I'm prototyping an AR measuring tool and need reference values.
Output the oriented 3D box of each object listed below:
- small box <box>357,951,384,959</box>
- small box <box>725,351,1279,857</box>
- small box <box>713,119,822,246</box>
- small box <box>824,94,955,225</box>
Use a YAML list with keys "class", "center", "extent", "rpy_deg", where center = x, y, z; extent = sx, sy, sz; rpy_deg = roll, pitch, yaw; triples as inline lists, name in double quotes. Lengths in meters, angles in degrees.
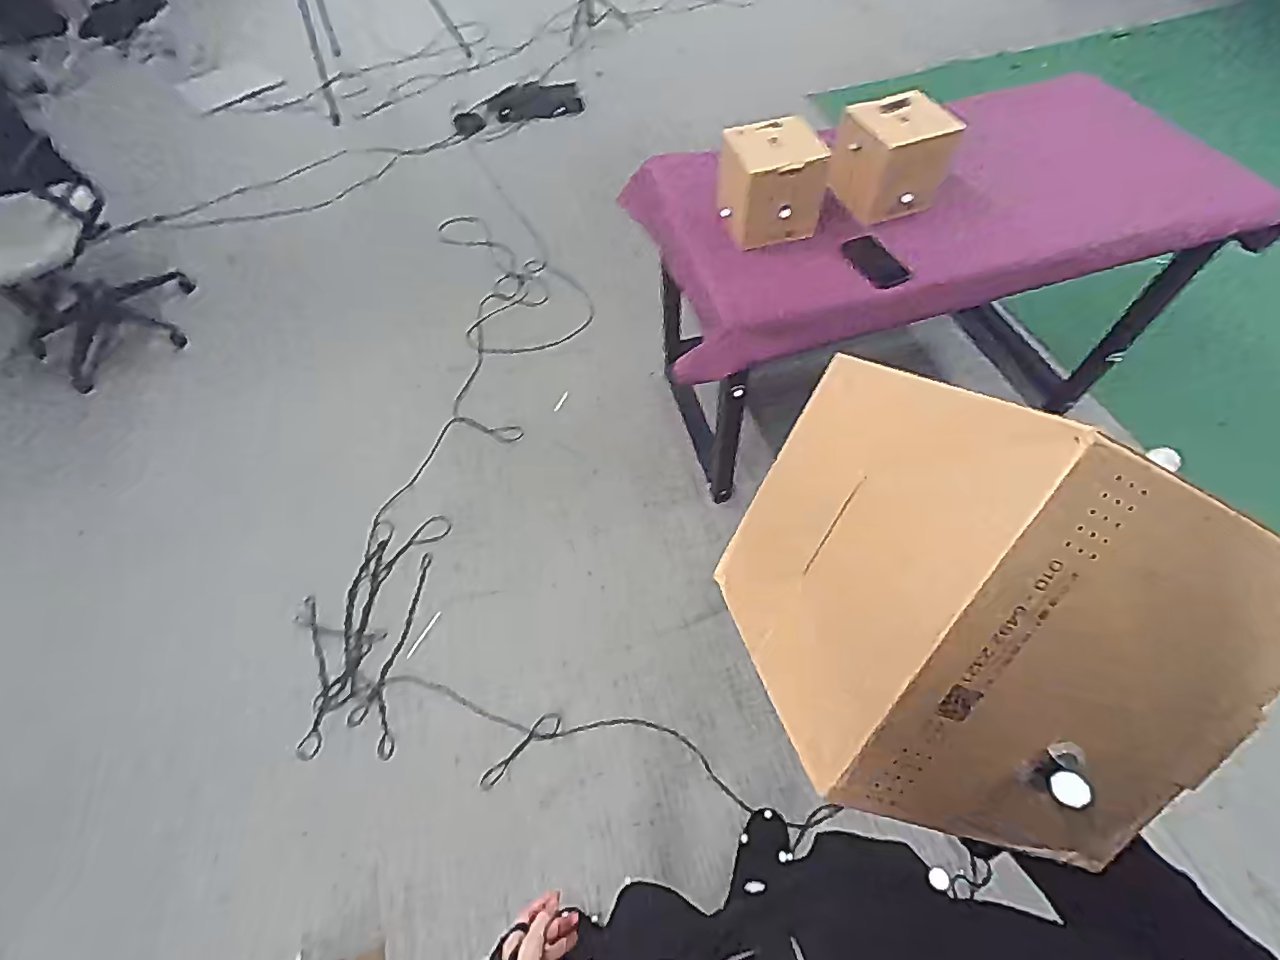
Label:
- class: "small box"
  center: [-0.595, 1.043, 1.024]
  extent: [0.179, 0.176, 0.168]
  rpy_deg: [-22, 59, -9]
- class: "small box"
  center: [0.166, 0.047, 0.288]
  extent: [0.176, 0.168, 0.179]
  rpy_deg: [24, 15, -14]
- class: "small box"
  center: [0.258, -0.614, 1.135]
  extent: [0.168, 0.176, 0.179]
  rpy_deg: [-13, 59, -4]
- class: "small box"
  center: [0.517, -0.681, 1.154]
  extent: [0.168, 0.176, 0.179]
  rpy_deg: [-18, 59, -6]
